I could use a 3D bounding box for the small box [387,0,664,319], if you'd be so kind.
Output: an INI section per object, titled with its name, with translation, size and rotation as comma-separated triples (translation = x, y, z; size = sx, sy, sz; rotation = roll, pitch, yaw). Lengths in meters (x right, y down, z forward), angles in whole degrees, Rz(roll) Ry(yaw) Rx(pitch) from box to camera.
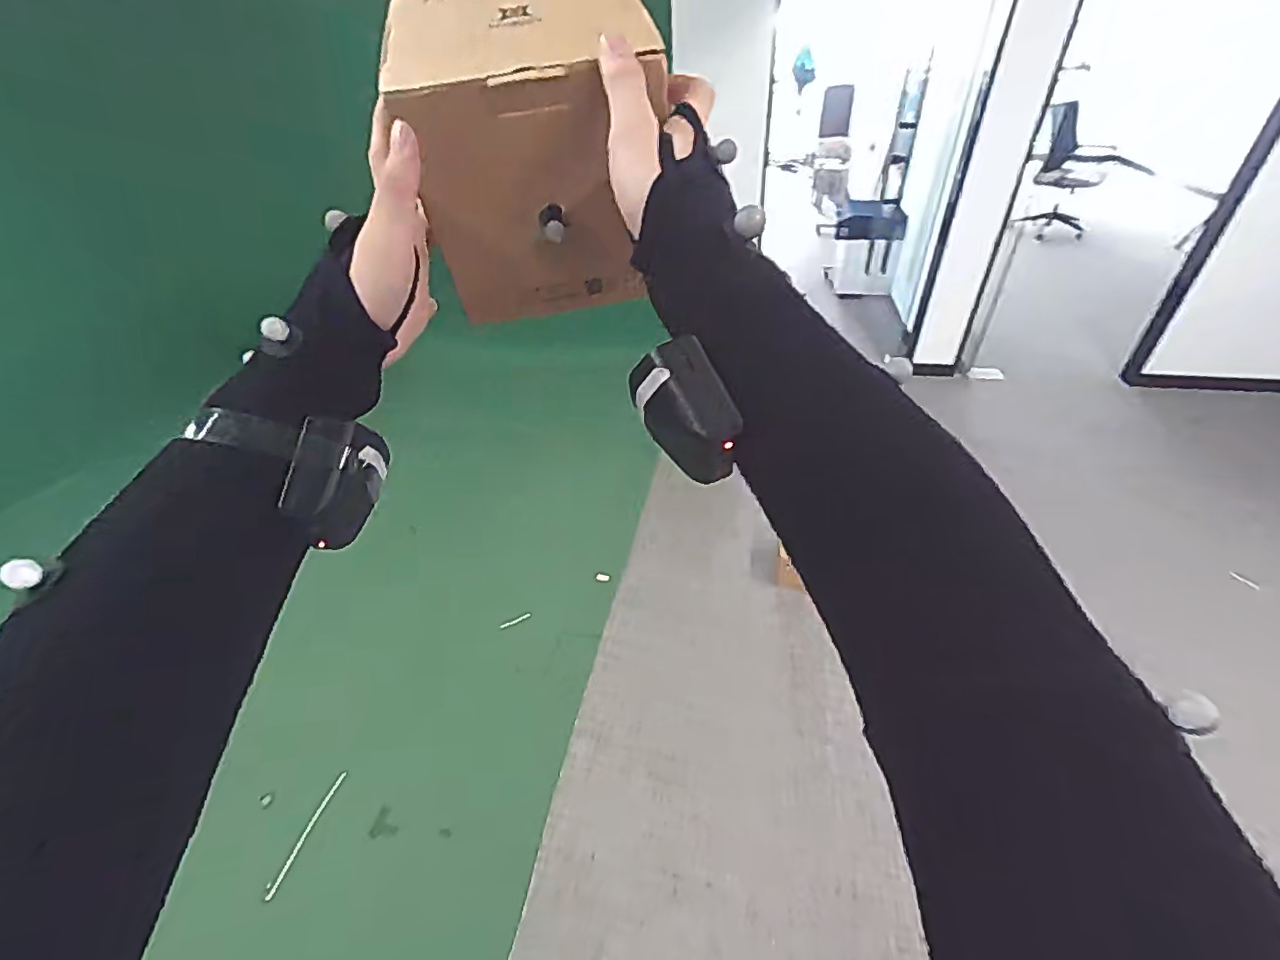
[small box]
translation = -0.076, -0.245, 0.424
size = 0.168, 0.176, 0.179
rotation = -10, 57, -3
